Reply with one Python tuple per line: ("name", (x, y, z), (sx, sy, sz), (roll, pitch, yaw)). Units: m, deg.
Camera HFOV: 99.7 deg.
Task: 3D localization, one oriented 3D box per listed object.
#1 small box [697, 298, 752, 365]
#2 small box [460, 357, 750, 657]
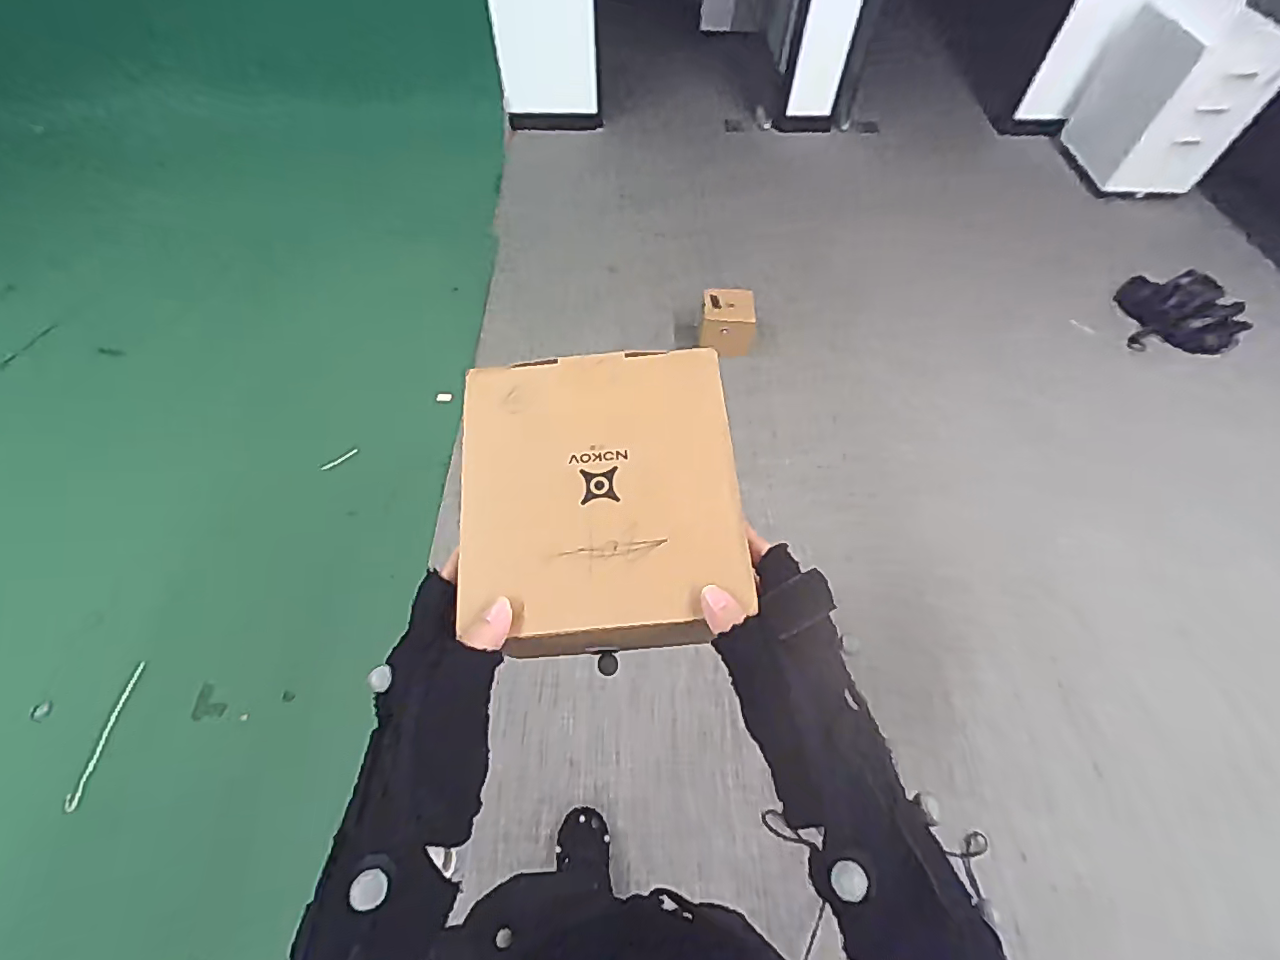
("small box", (0.298, -0.532, 1.947), (0.179, 0.176, 0.168), (2, 57, 0))
("small box", (-0.023, 0.031, 0.407), (0.168, 0.176, 0.179), (-4, 68, 0))
